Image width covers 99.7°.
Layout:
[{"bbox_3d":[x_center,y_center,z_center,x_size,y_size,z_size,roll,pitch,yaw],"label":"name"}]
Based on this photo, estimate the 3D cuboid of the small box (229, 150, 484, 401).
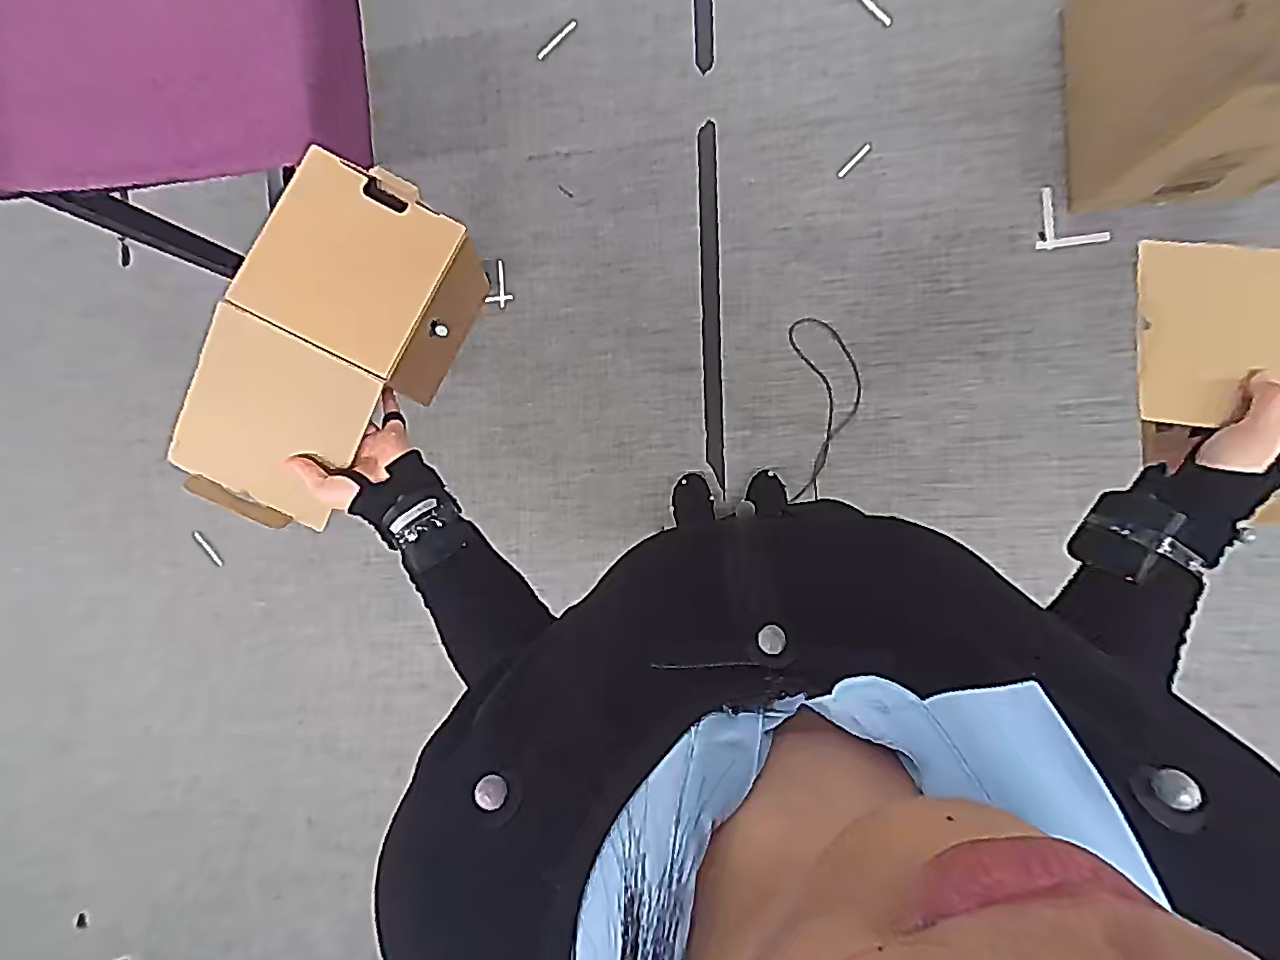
[{"bbox_3d":[-0.291,-0.206,0.604,0.168,0.176,0.179,27,85,-7],"label":"small box"}]
